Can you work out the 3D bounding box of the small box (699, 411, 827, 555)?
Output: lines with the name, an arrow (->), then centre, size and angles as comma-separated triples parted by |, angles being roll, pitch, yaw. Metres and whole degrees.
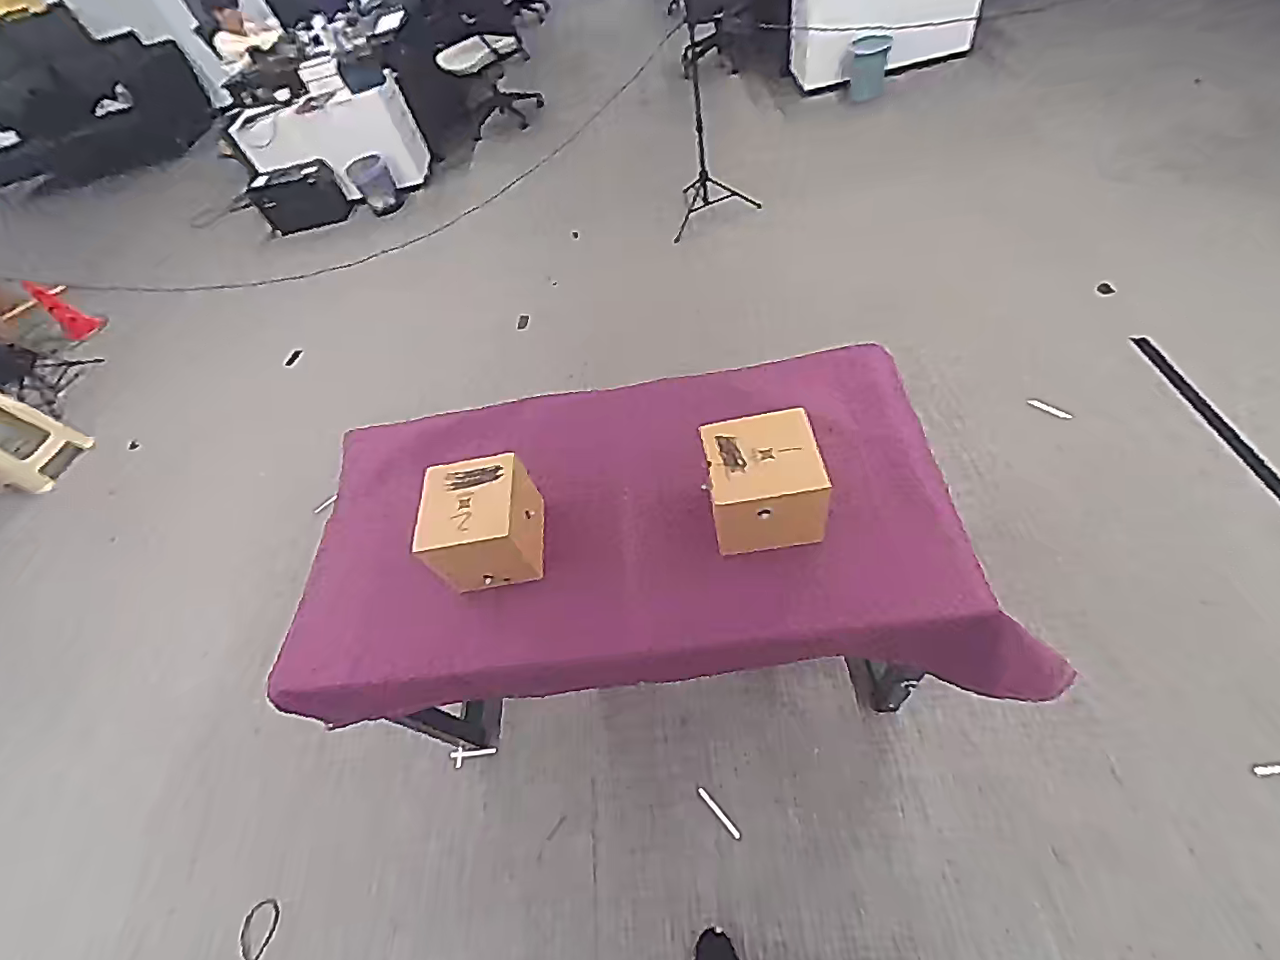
small box -> 0.204, 0.012, 0.916 | 0.179, 0.176, 0.168 | -10, 53, 6
